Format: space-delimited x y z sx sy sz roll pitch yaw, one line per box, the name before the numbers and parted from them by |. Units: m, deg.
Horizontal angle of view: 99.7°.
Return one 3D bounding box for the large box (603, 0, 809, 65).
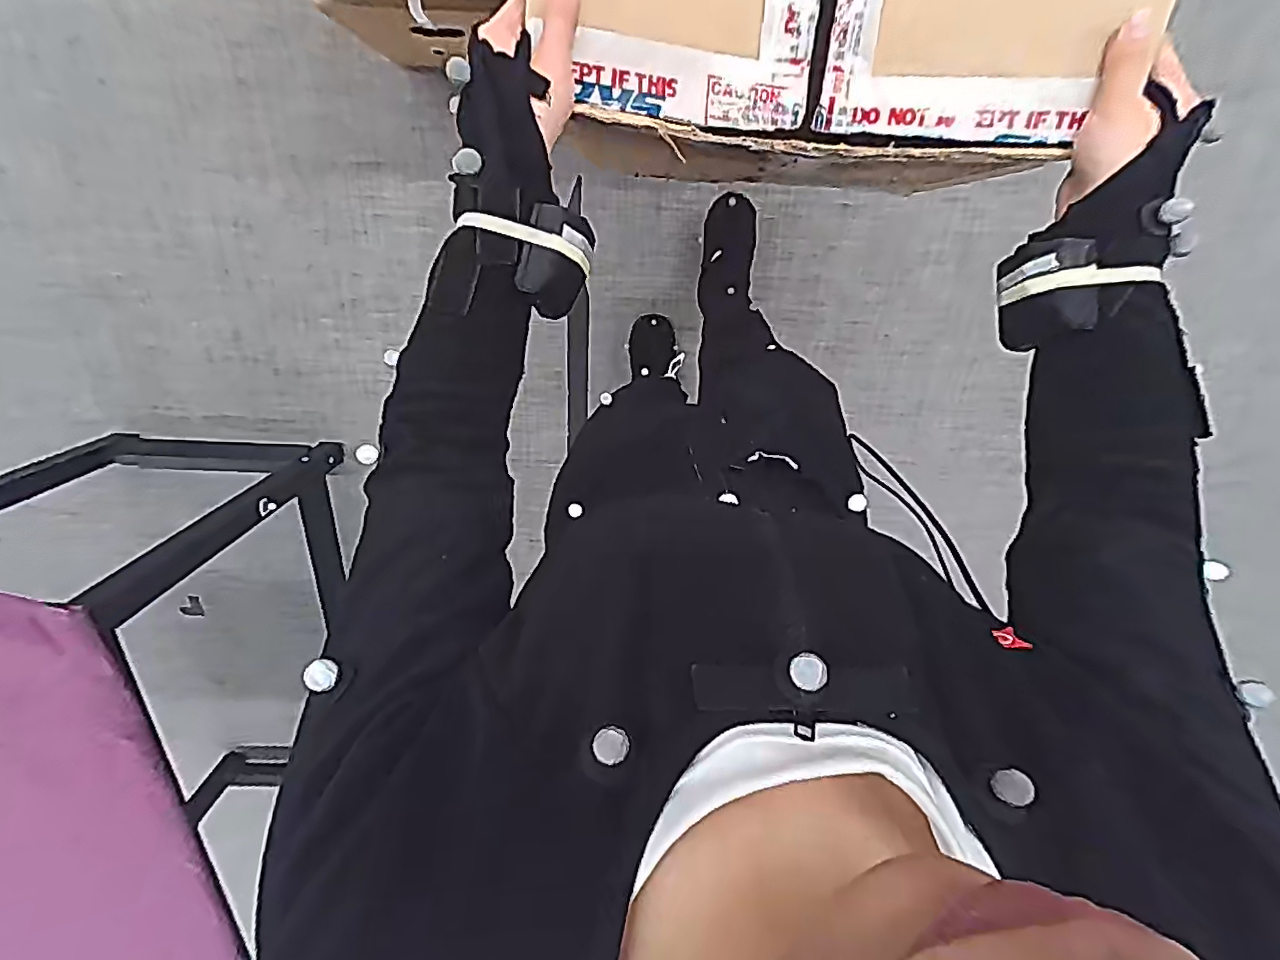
large box | 0.095 -0.944 0.853 0.320 0.320 0.408 1 114 0
